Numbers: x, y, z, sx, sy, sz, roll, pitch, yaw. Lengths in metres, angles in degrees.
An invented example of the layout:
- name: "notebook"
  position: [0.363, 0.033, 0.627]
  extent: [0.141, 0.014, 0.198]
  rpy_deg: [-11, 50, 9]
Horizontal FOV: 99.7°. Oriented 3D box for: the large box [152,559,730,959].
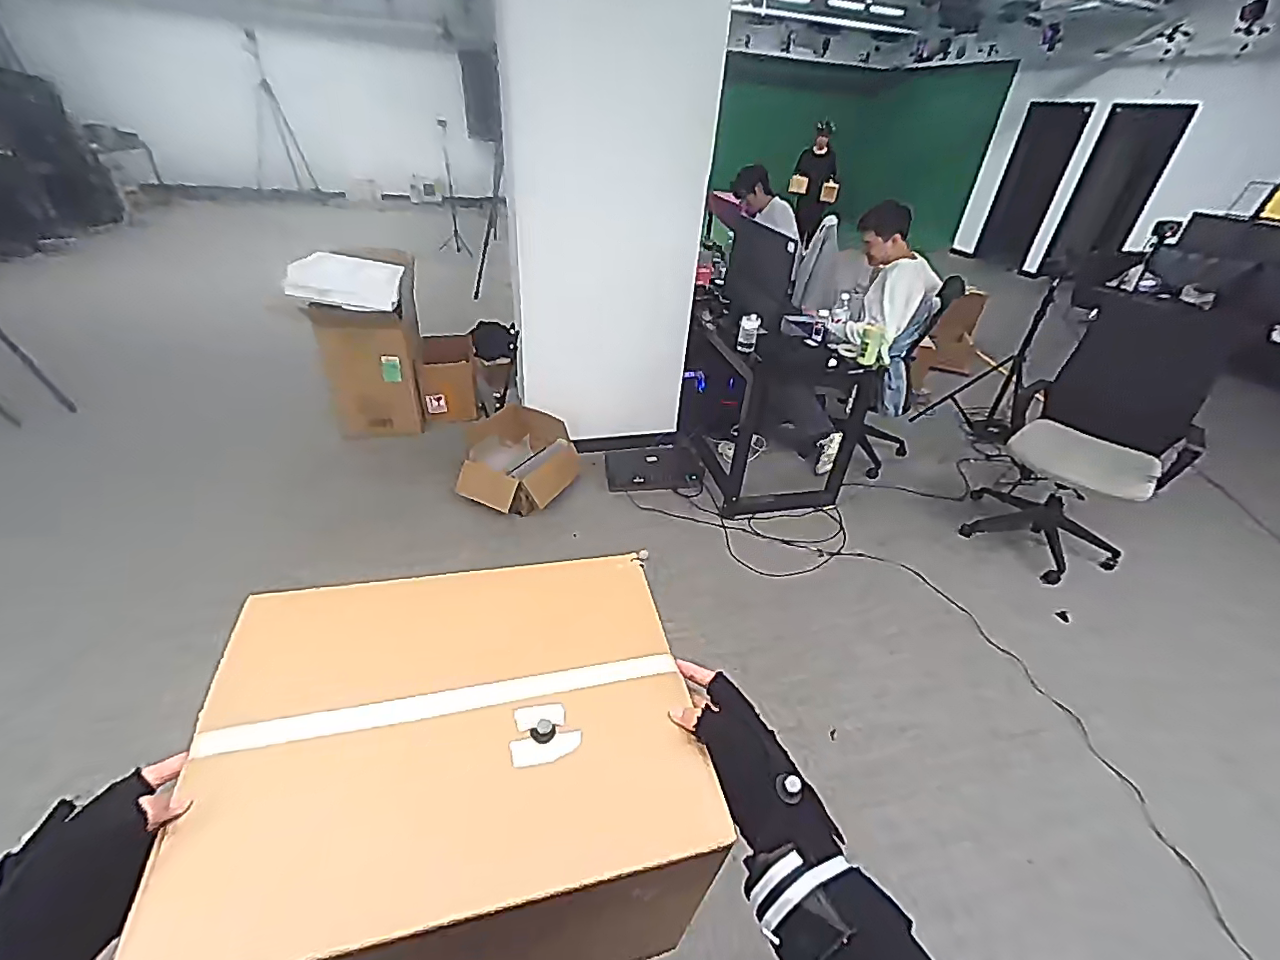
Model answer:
- name: "large box"
  position: [-0.171, 0.320, 0.582]
  extent: [0.408, 0.320, 0.320]
  rpy_deg: [-4, 39, -16]
